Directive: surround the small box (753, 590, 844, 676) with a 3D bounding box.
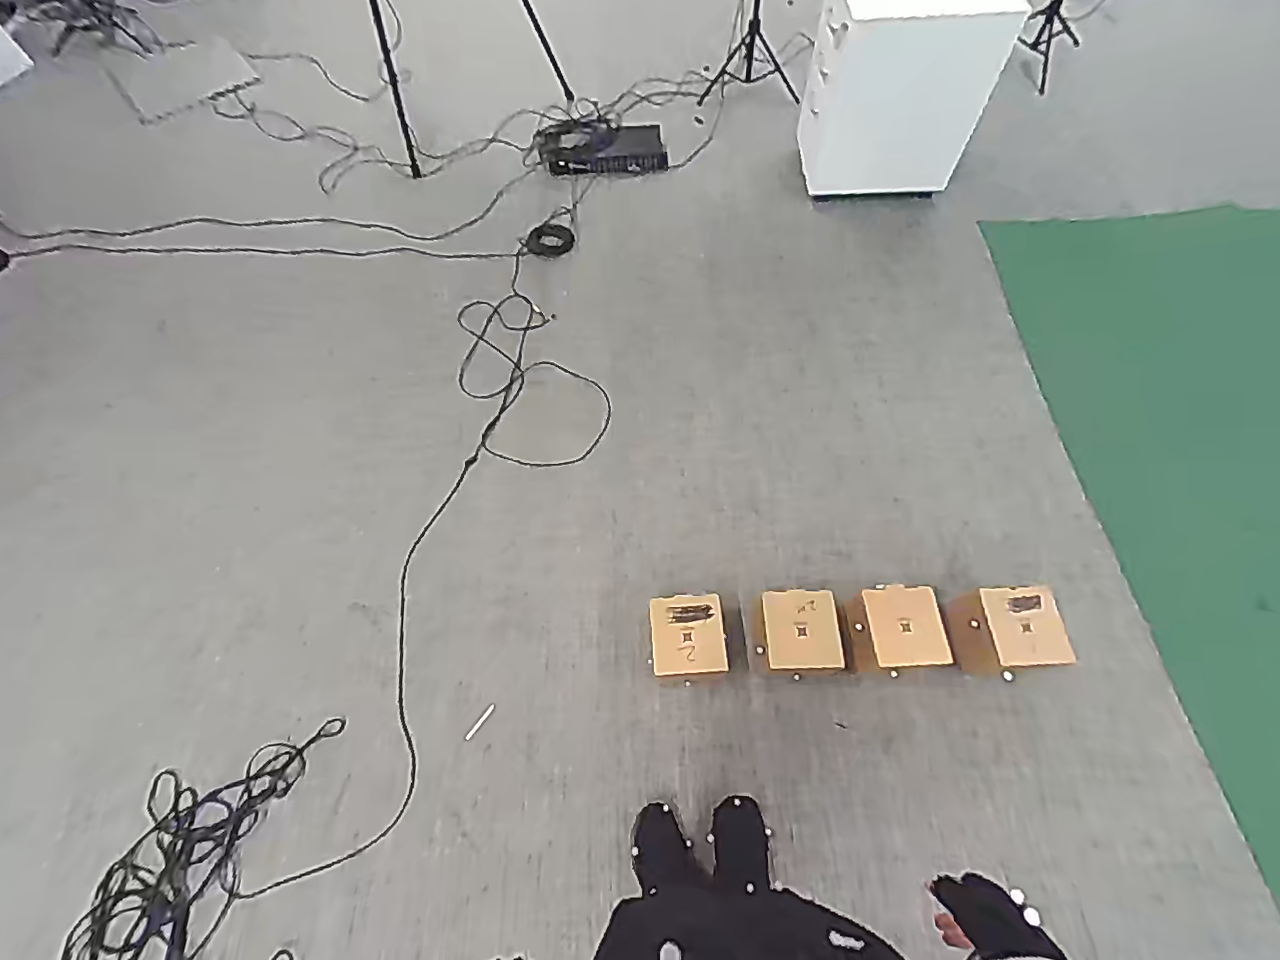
[{"bbox_3d":[0.370,0.371,1.293,0.168,0.176,0.179,-1,63,1],"label":"small box"}]

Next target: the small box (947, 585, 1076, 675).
[{"bbox_3d":[0.865,0.359,1.283,0.168,0.176,0.179,-3,64,1],"label":"small box"}]

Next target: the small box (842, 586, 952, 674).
[{"bbox_3d":[0.602,0.364,1.291,0.168,0.176,0.179,-3,63,0],"label":"small box"}]
